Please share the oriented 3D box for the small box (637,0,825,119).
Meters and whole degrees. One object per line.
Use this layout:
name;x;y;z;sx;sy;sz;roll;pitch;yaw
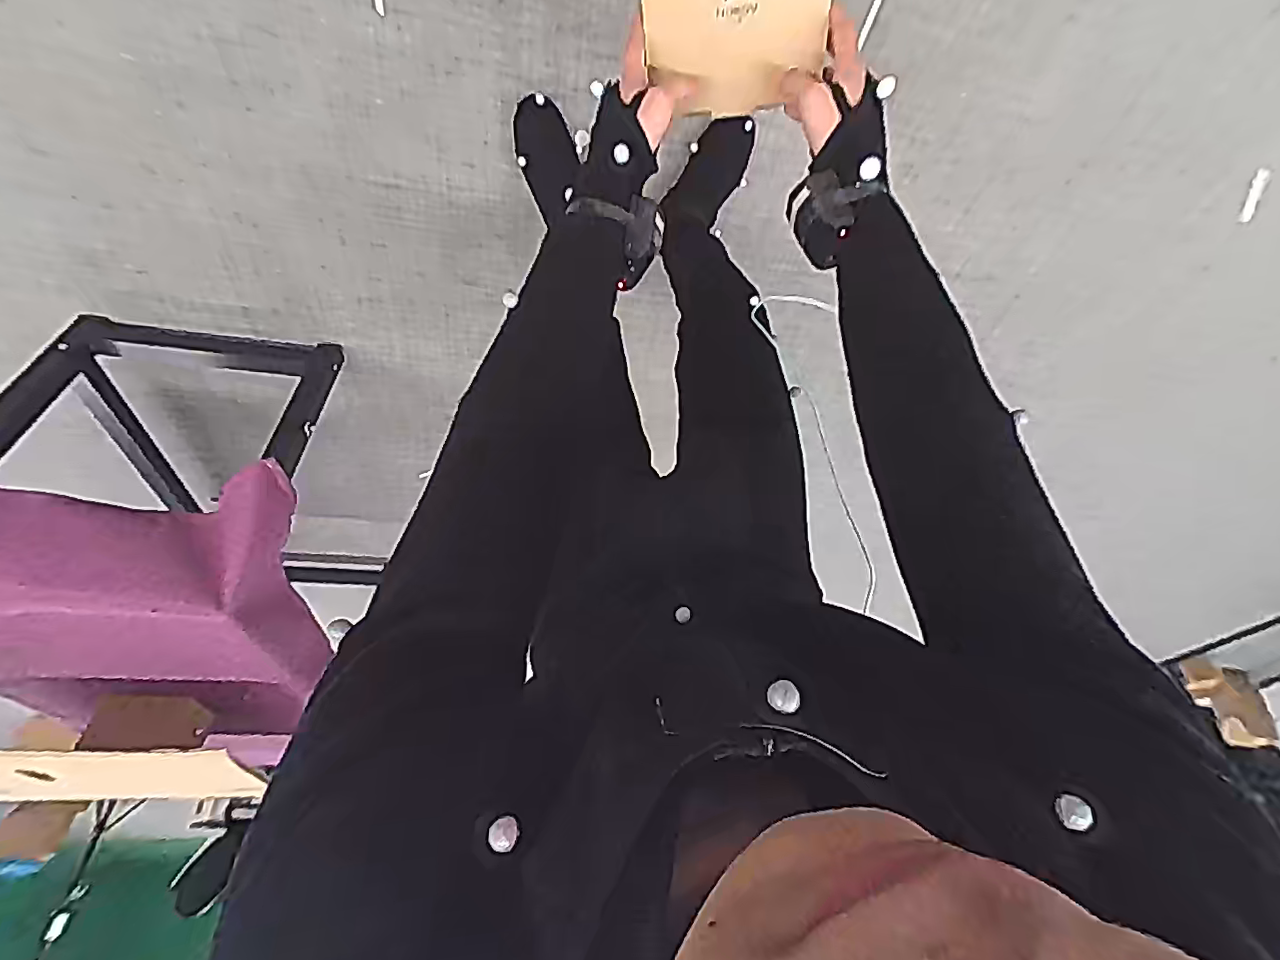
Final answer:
small box;0.082;-0.482;0.519;0.168;0.176;0.179;-3;141;5
